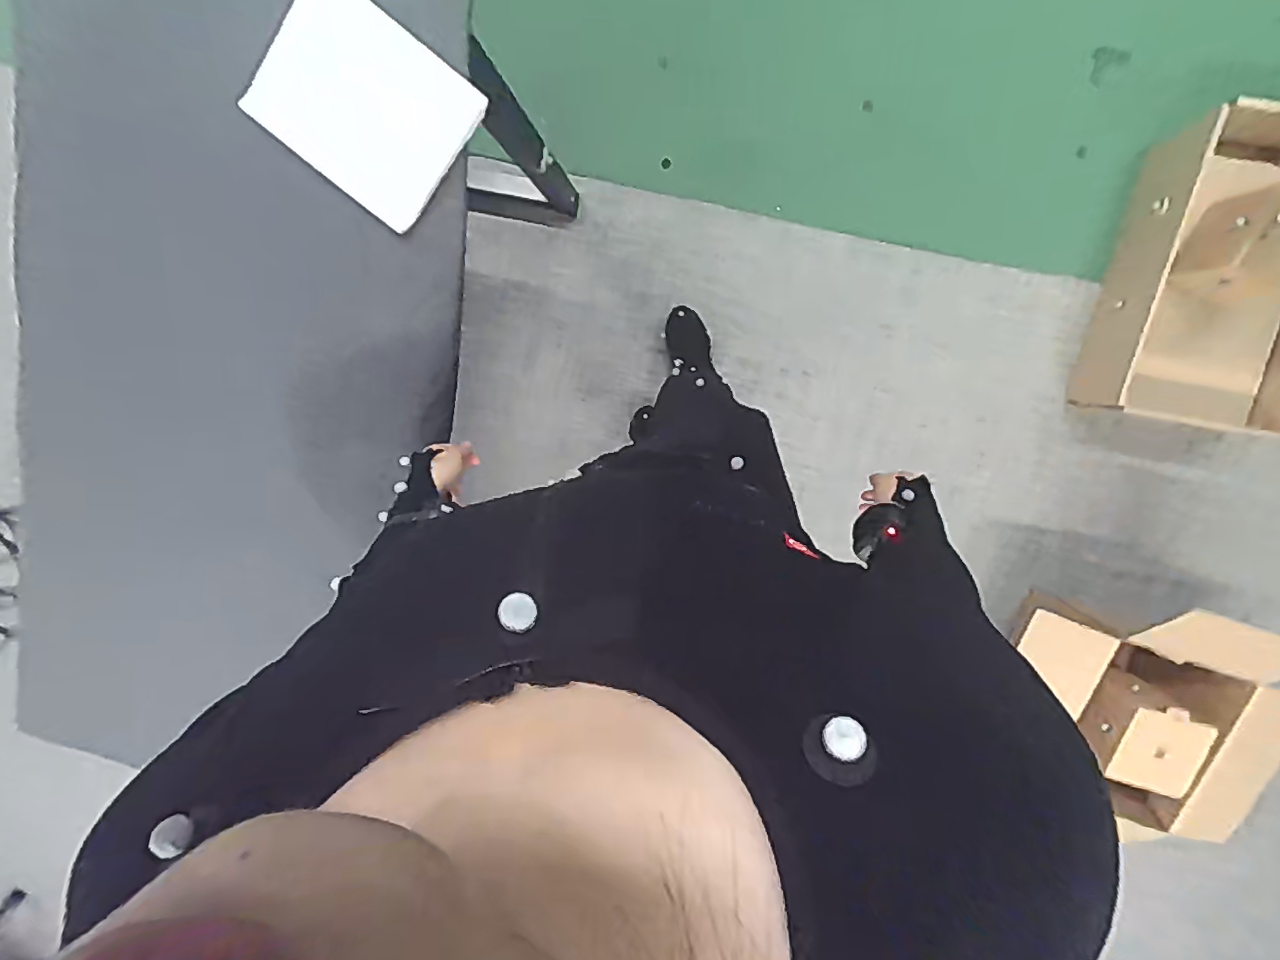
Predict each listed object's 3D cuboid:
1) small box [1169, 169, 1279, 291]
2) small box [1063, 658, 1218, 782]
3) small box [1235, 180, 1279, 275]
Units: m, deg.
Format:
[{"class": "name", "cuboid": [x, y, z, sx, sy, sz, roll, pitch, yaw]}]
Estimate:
[{"class": "small box", "cuboid": [1.293, -0.516, 1.141, 0.168, 0.176, 0.179, 23, 104, -1]}, {"class": "small box", "cuboid": [1.116, 0.533, 1.225, 0.168, 0.176, 0.179, 15, 103, 4]}, {"class": "small box", "cuboid": [1.283, -0.471, 0.982, 0.179, 0.176, 0.168, 20, 103, 1]}]
